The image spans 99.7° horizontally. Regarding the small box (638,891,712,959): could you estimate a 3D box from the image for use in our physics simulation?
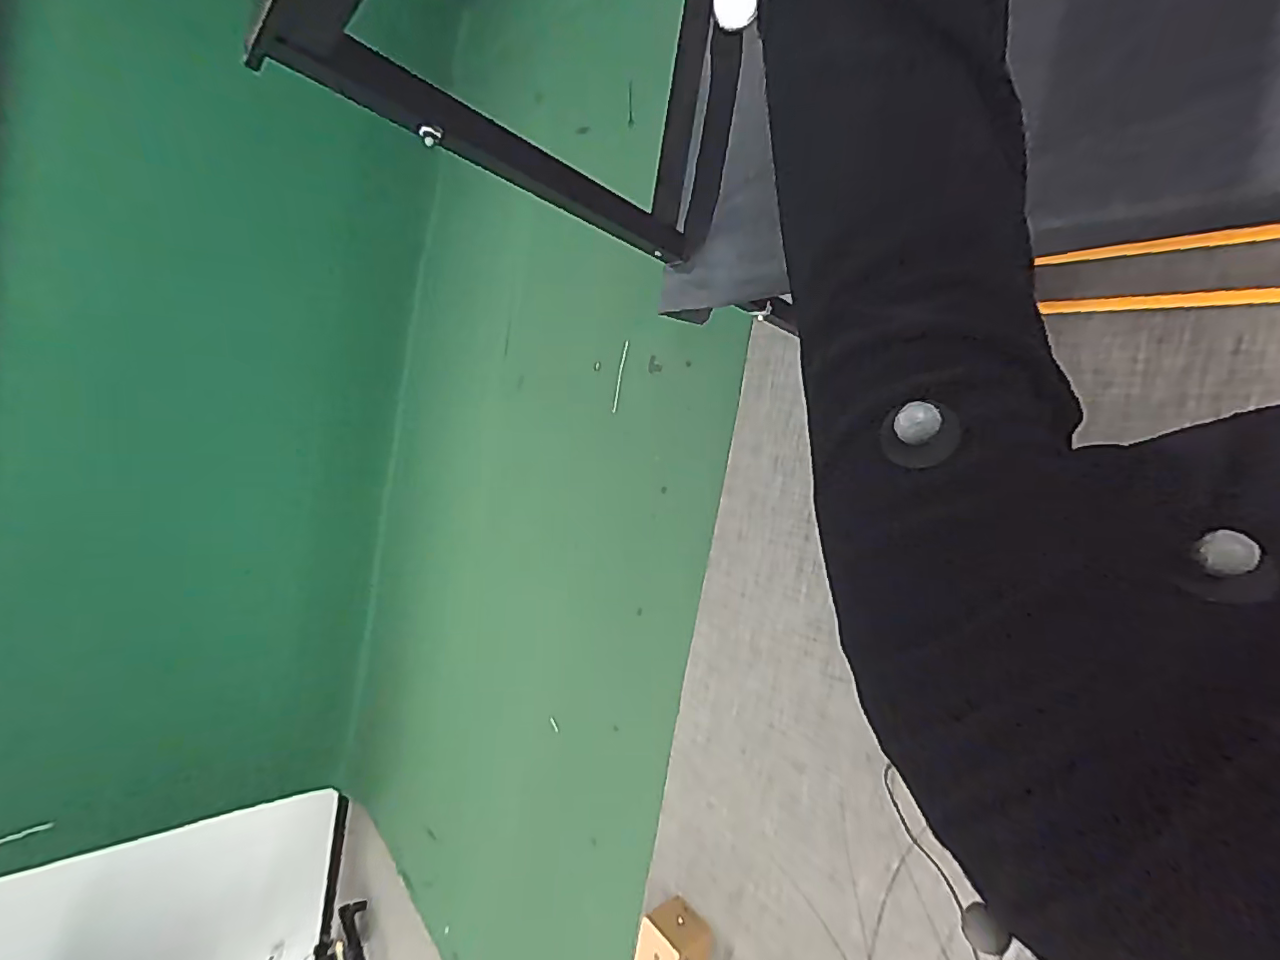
[{"bbox_3d":[0.120,1.533,1.805,0.168,0.176,0.179,15,96,47],"label":"small box"}]
